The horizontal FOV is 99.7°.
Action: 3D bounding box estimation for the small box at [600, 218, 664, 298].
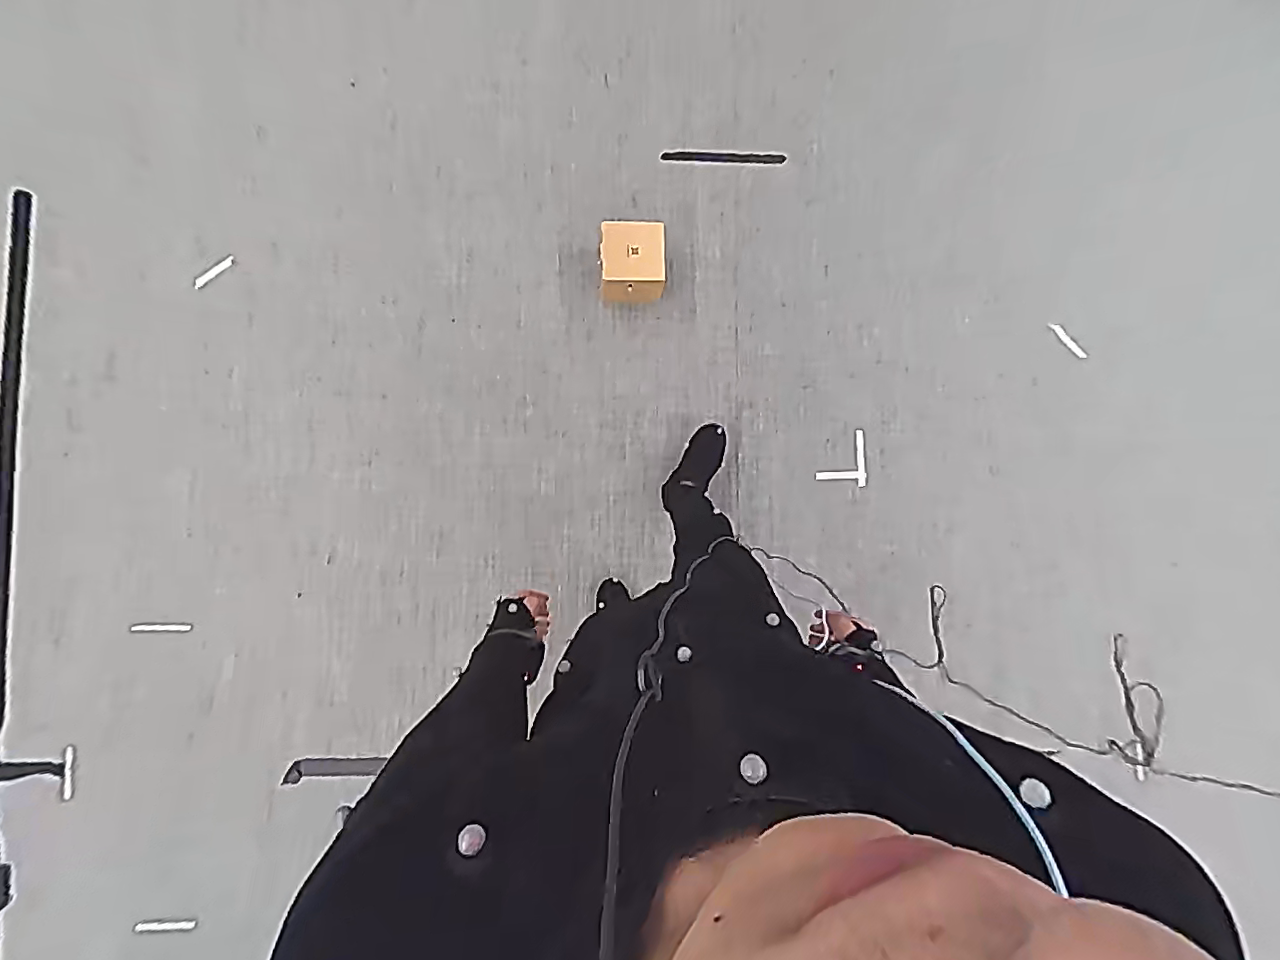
[{"bbox_3d":[-0.028,-0.636,1.564,0.179,0.176,0.168,-1,89,-3],"label":"small box"}]
